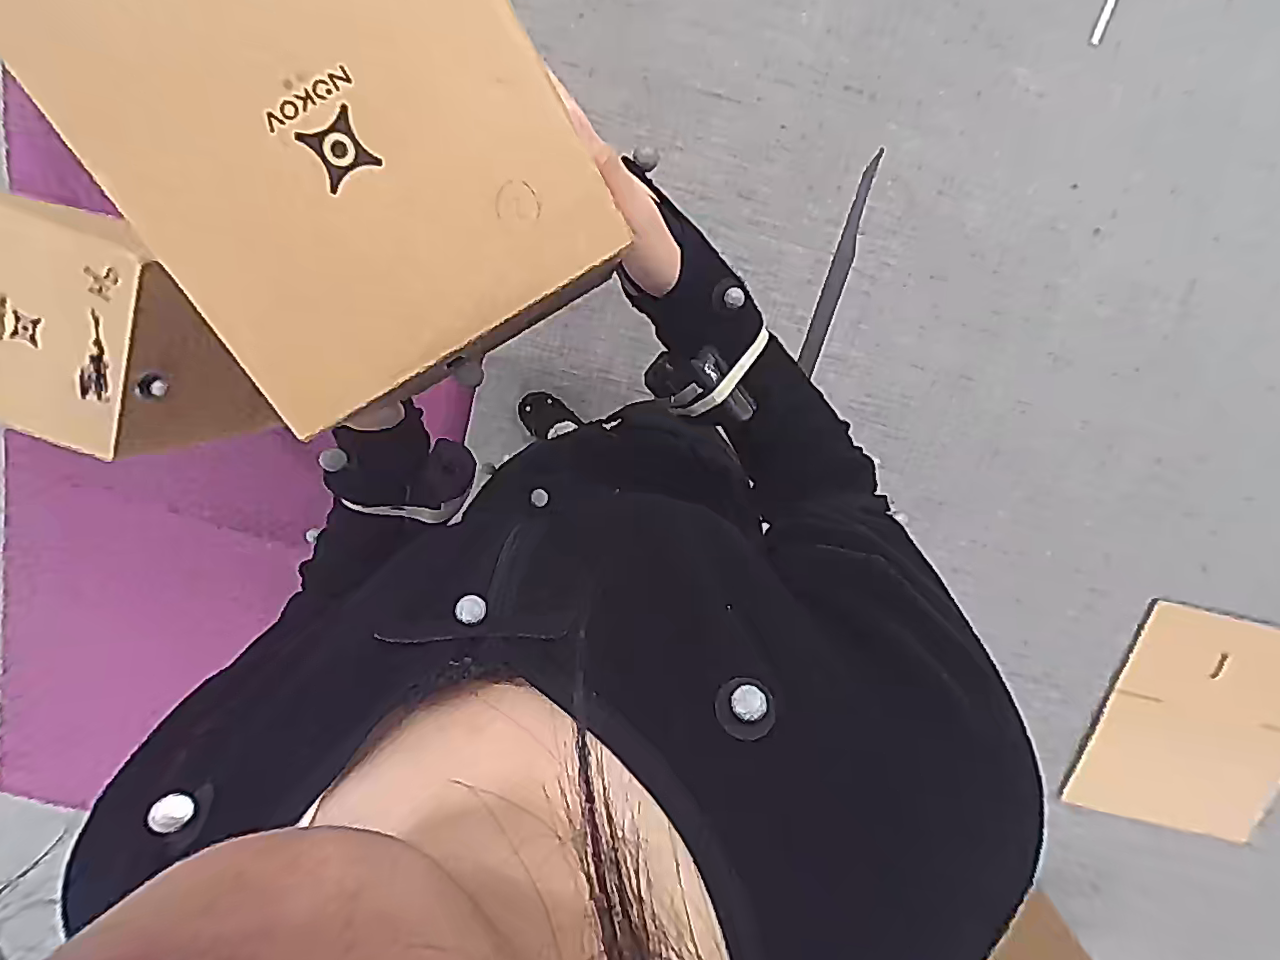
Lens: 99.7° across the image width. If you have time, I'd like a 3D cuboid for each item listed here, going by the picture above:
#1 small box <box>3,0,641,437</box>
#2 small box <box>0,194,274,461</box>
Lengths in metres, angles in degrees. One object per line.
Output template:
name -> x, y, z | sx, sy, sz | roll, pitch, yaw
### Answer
small box -> -0.114, -0.148, 0.280 | 0.168, 0.176, 0.179 | -29, 105, 3
small box -> -0.465, -0.133, 0.489 | 0.179, 0.176, 0.168 | 21, 103, -2
